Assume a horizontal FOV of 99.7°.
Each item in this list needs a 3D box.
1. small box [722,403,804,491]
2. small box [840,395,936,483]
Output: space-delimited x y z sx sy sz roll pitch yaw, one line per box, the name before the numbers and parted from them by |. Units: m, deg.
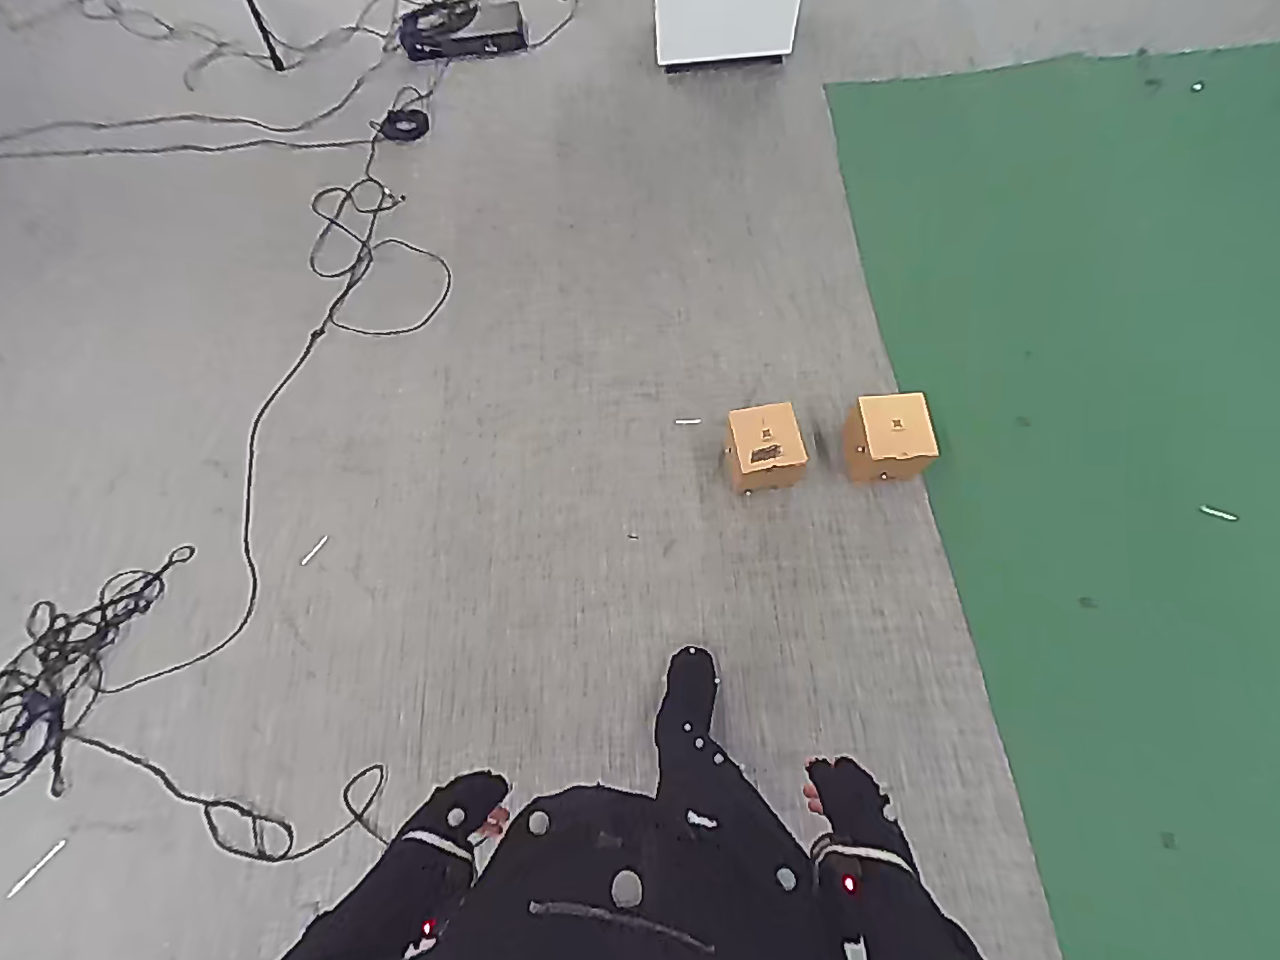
small box | 0.319 -0.079 1.432 0.168 0.176 0.179 -9 68 0
small box | 0.642 -0.105 1.426 0.168 0.176 0.179 -4 69 2
